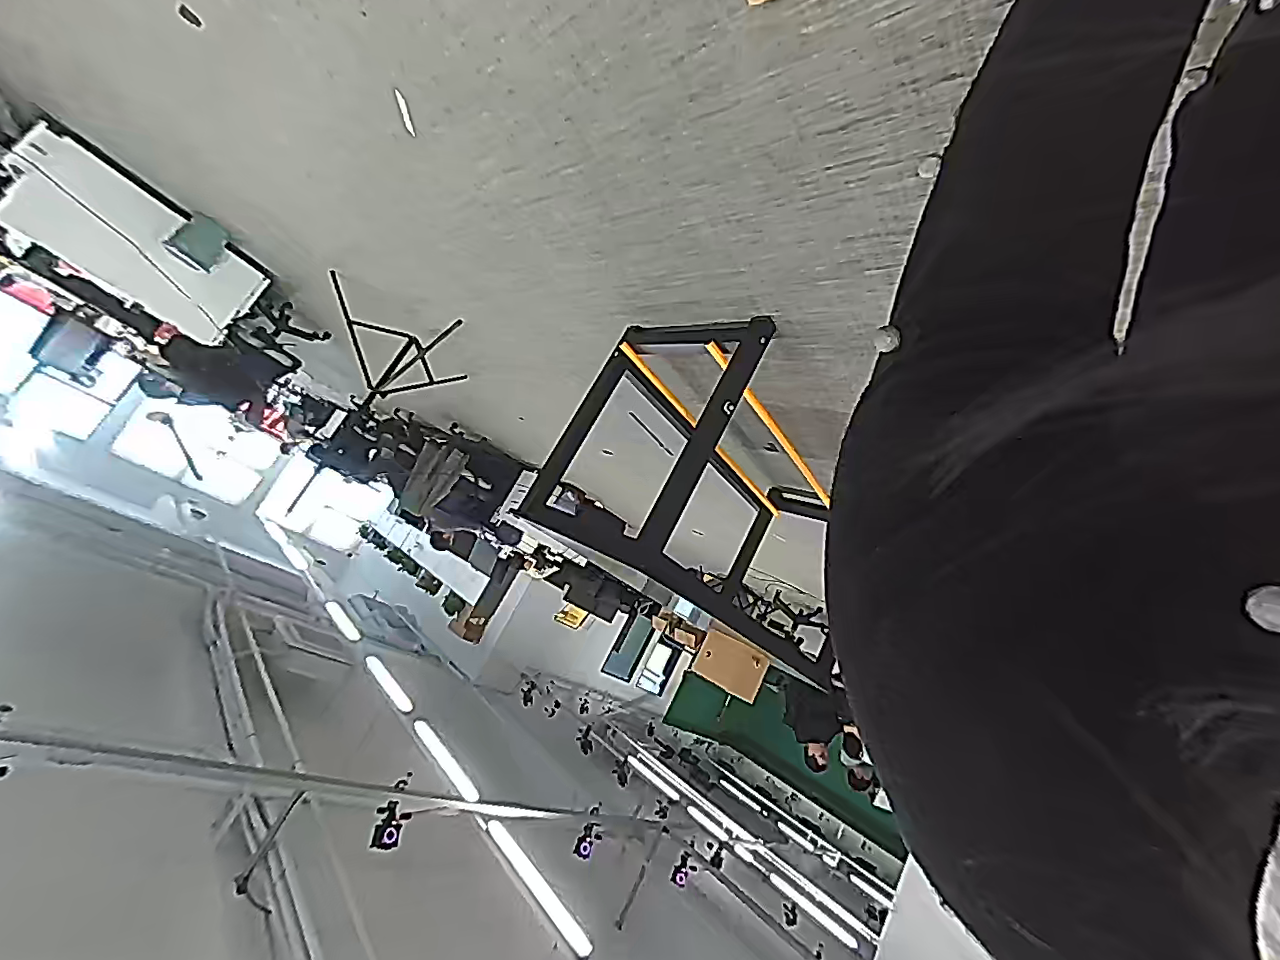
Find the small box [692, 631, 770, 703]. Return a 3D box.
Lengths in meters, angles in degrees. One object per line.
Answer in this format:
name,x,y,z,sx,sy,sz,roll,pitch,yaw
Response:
small box,0.322,0.646,1.890,0.168,0.176,0.179,37,164,-36
